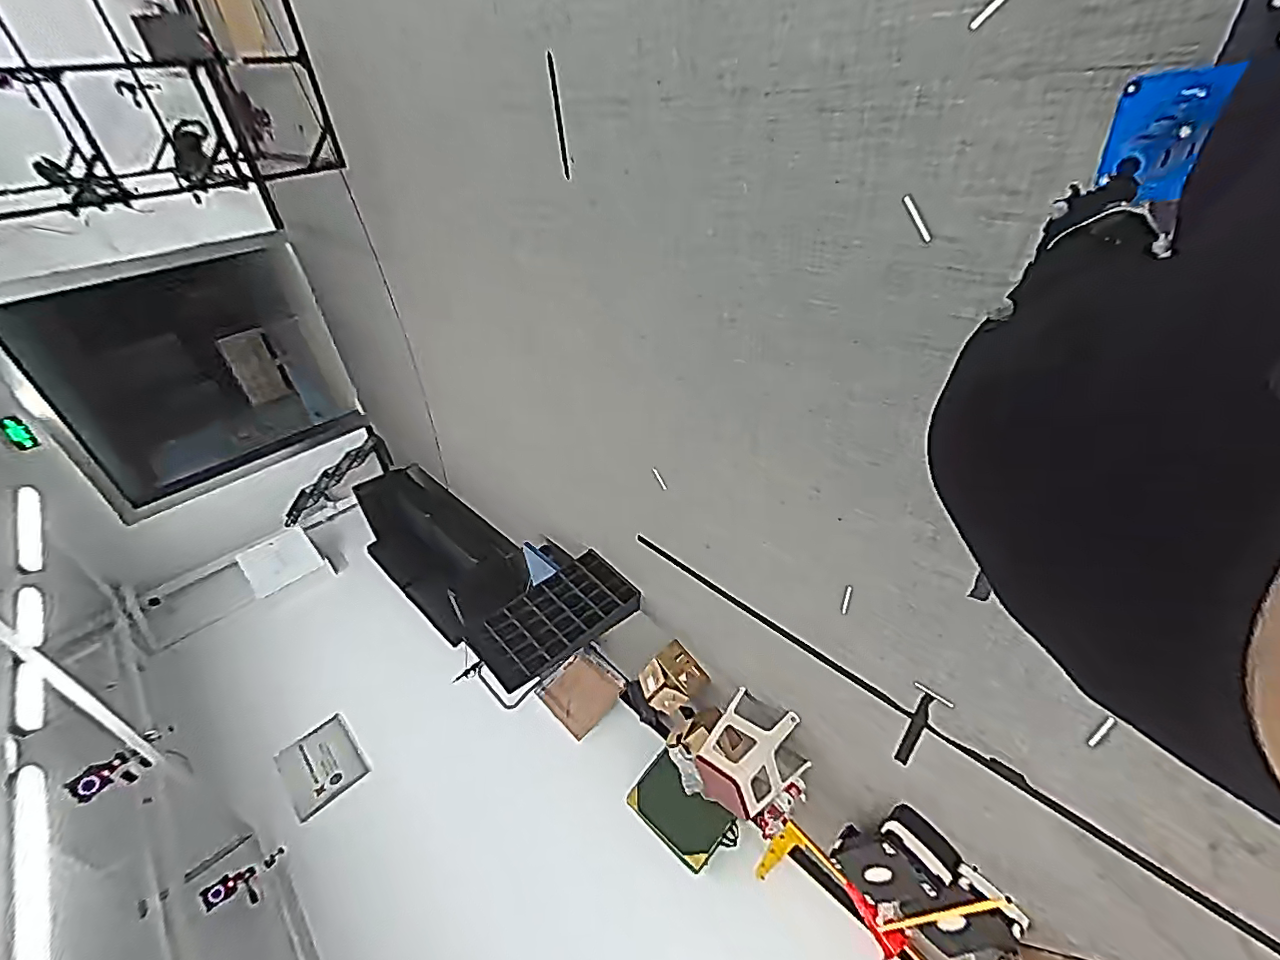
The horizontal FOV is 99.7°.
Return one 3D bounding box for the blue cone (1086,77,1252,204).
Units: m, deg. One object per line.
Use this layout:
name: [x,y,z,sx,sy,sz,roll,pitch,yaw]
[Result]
blue cone: [0.813,-0.526,0.878,0.192,0.380,0.193,27,136,40]
